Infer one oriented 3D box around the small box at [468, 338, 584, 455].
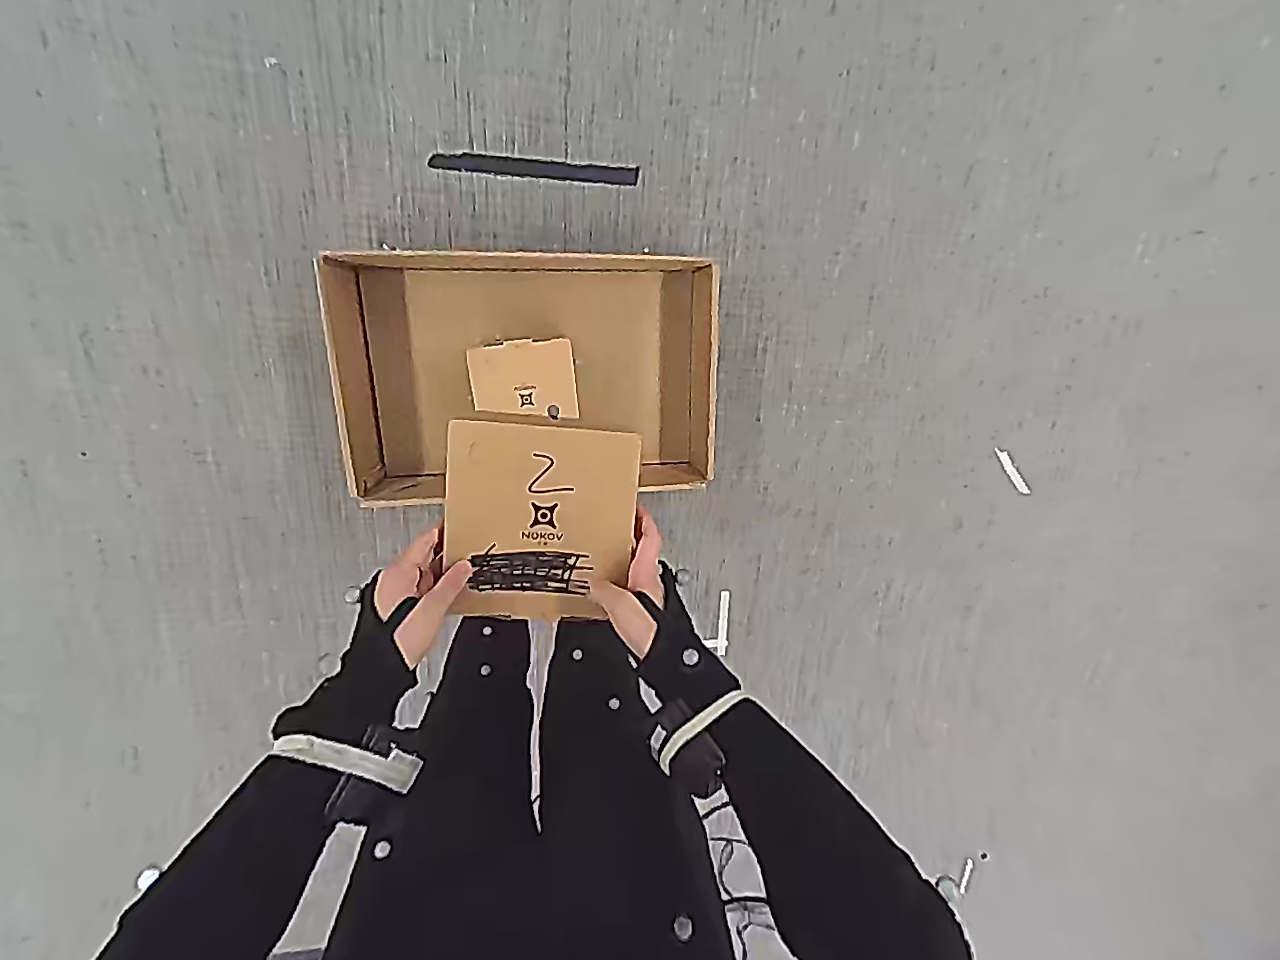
[{"bbox_3d":[-0.194,-0.154,0.945,0.168,0.176,0.179,-8,108,-7],"label":"small box"}]
